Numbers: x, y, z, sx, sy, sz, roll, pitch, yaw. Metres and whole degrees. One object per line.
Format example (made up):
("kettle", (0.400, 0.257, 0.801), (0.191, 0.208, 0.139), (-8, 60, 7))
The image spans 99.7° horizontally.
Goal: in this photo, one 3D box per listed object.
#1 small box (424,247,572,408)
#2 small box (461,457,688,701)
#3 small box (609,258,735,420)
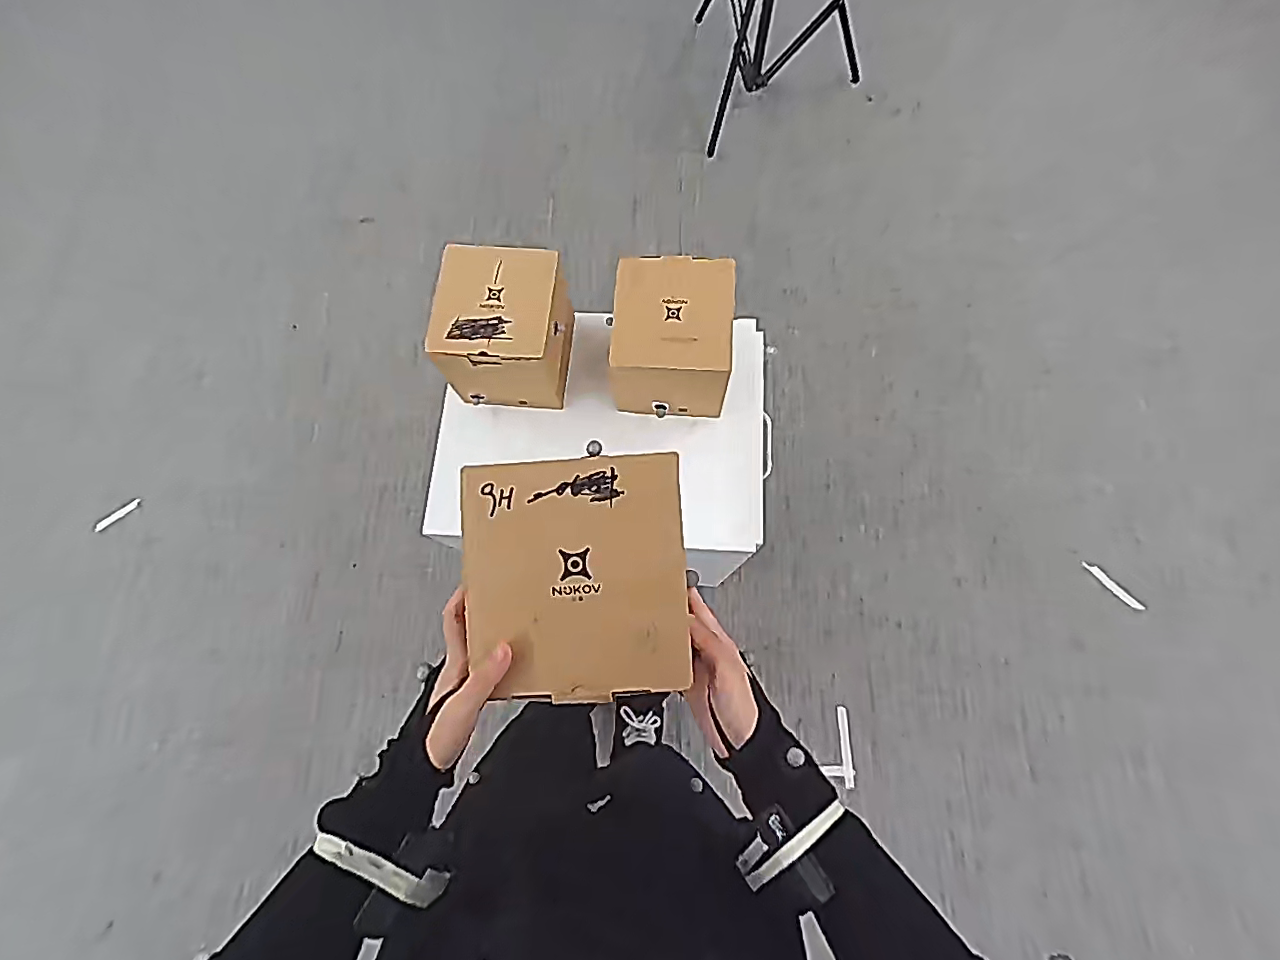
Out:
("small box", (-0.201, -0.221, 0.820), (0.168, 0.176, 0.179), (4, 74, 2))
("small box", (-0.046, 0.075, 0.478), (0.168, 0.176, 0.179), (-4, 87, 1))
("small box", (0.048, -0.204, 0.811), (0.168, 0.176, 0.179), (2, 76, 4))
